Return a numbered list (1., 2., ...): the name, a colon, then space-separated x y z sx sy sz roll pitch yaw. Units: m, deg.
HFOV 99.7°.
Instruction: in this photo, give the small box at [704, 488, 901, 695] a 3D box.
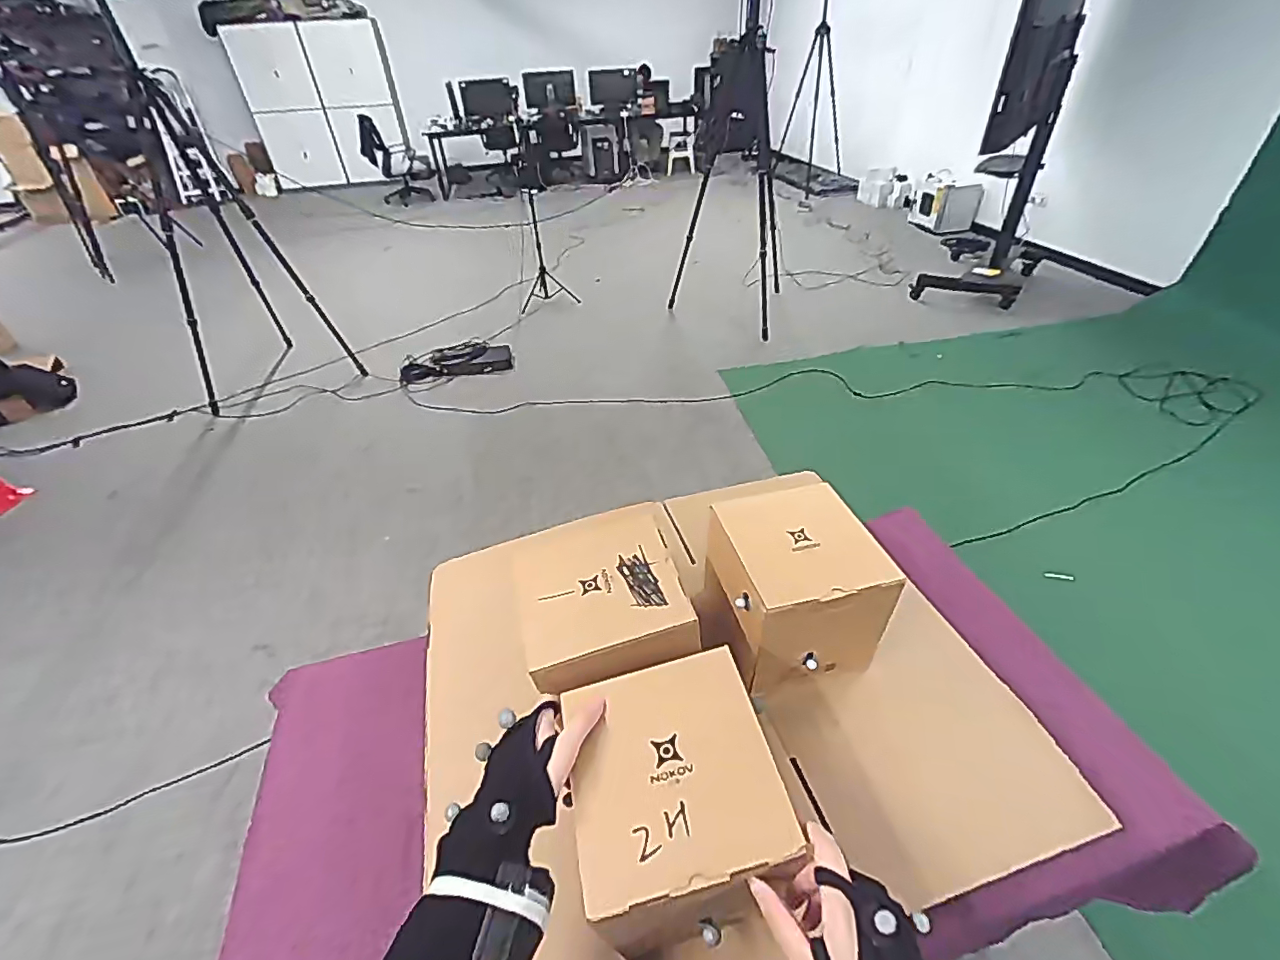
1. small box: 0.187 0.138 0.686 0.168 0.176 0.179 -10 40 -11
